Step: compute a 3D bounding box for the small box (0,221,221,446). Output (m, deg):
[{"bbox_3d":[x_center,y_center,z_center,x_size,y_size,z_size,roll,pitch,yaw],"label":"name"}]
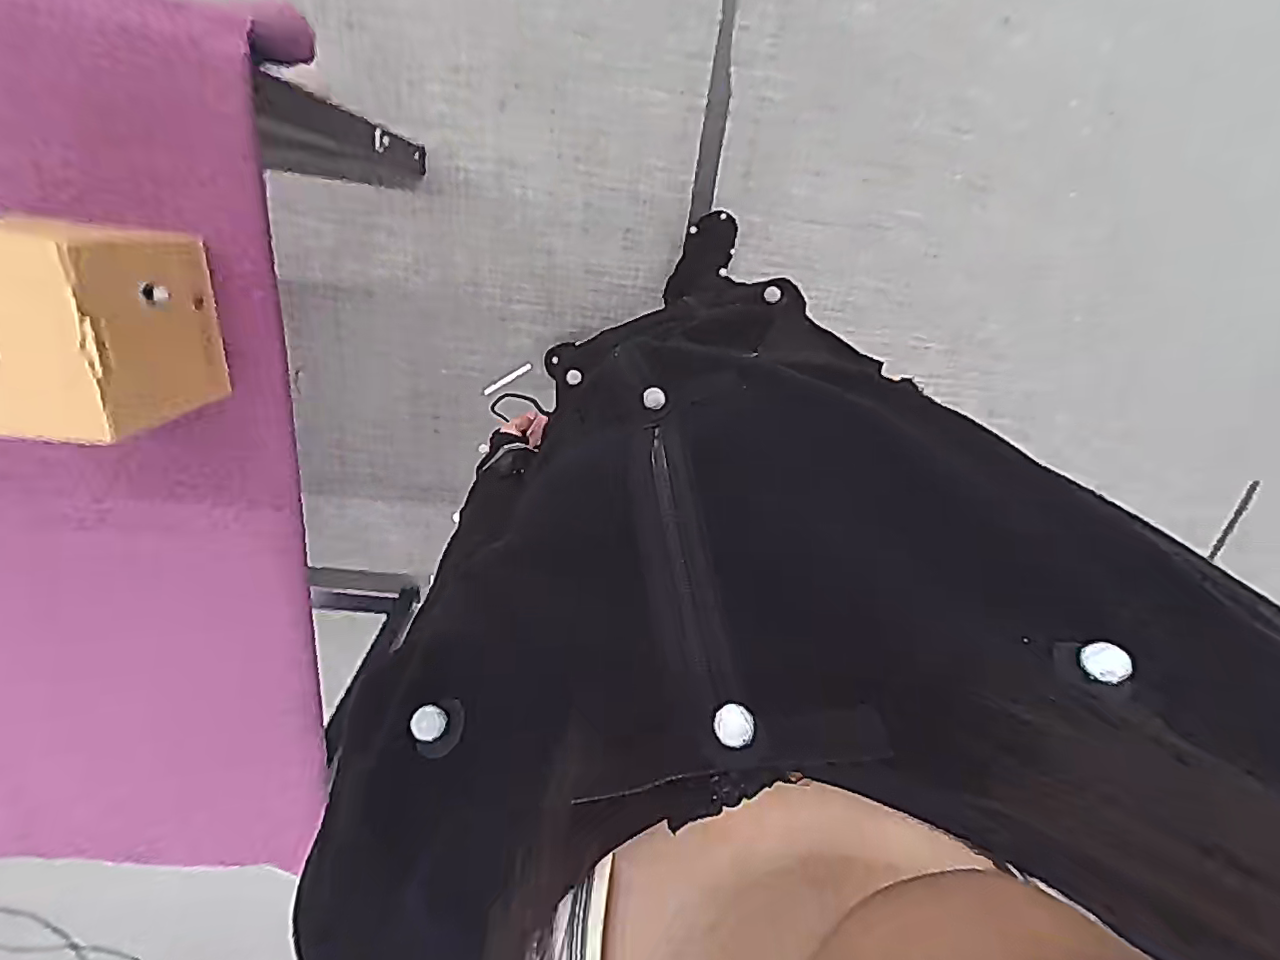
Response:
[{"bbox_3d":[-0.529,-0.141,0.498,0.179,0.176,0.168,4,113,-6],"label":"small box"}]
